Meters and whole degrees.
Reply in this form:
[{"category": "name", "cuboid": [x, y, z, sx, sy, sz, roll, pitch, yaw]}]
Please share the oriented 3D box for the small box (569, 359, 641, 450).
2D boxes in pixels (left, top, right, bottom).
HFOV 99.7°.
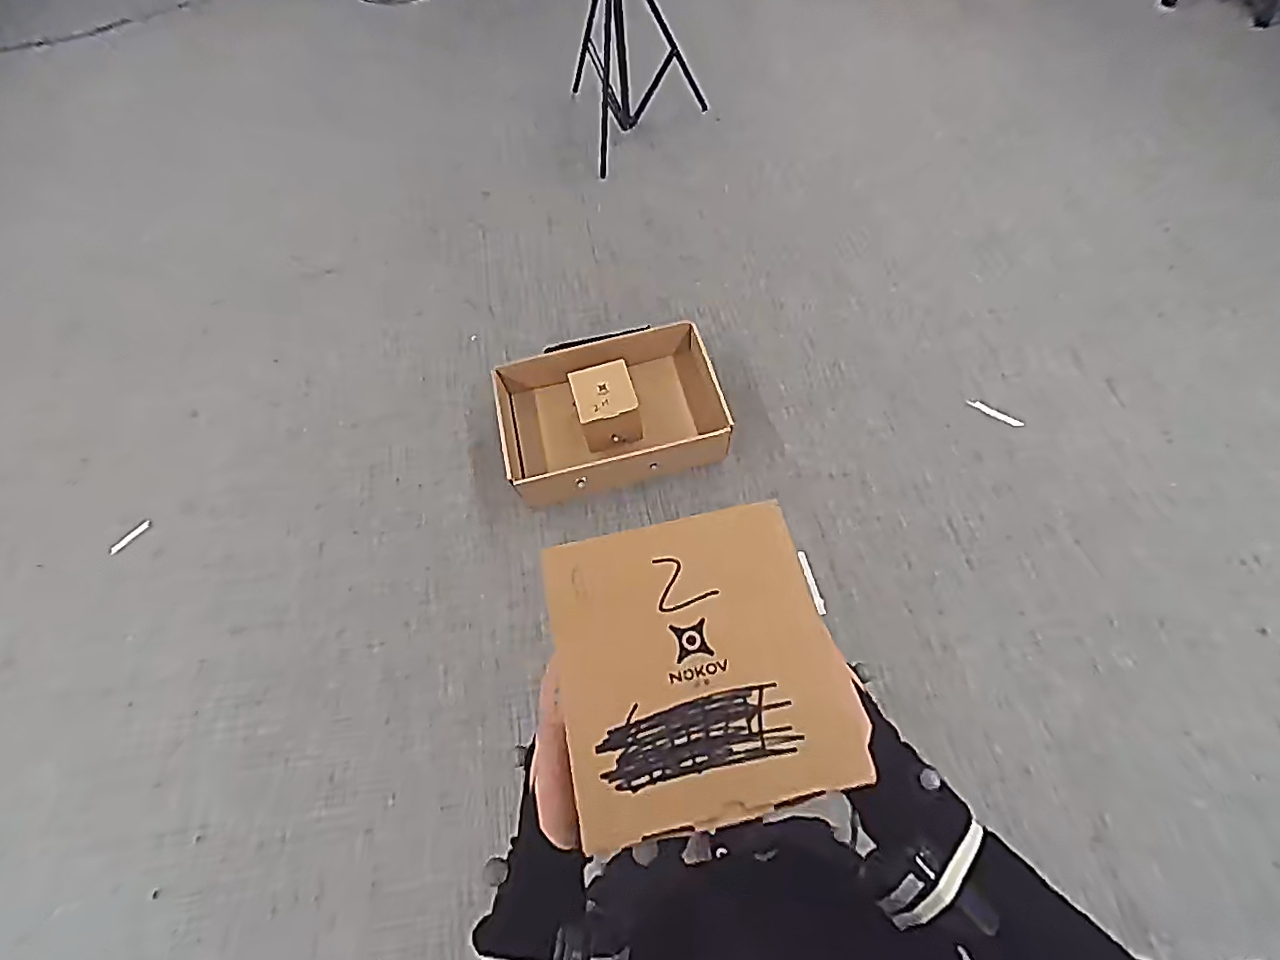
[{"category": "small box", "cuboid": [-0.098, -0.214, 1.557, 0.168, 0.176, 0.179, -16, 65, -4]}]
